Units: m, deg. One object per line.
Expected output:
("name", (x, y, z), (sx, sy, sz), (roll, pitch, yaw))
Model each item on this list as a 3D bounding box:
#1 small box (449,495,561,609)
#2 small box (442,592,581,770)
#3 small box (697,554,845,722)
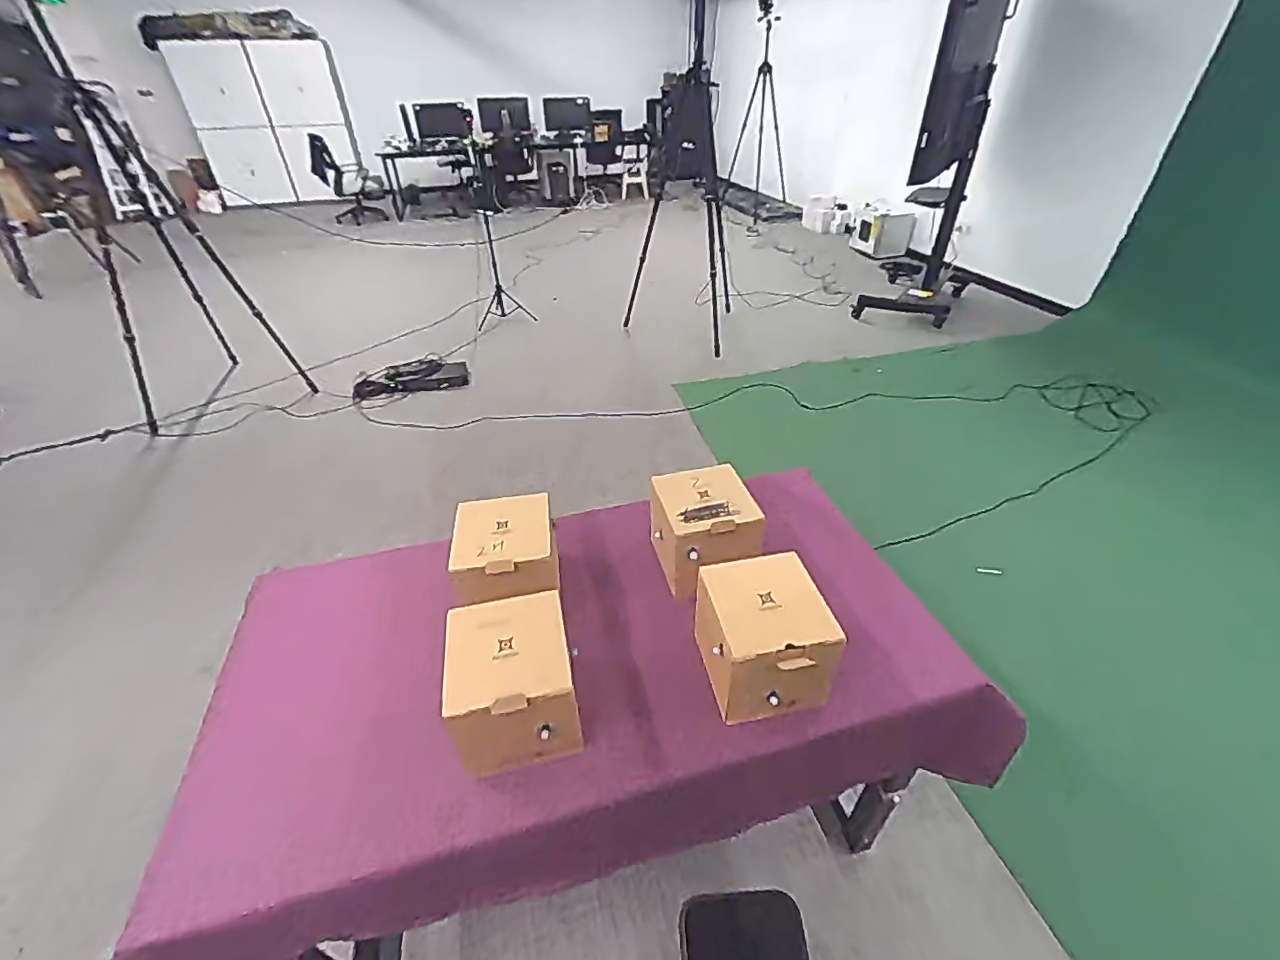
("small box", (-0.236, 0.151, 0.985), (0.168, 0.176, 0.179), (-7, 38, -6))
("small box", (-0.182, 0.298, 0.794), (0.168, 0.176, 0.179), (-9, 37, -10))
("small box", (0.190, 0.244, 0.847), (0.168, 0.176, 0.179), (-8, 38, -8))
